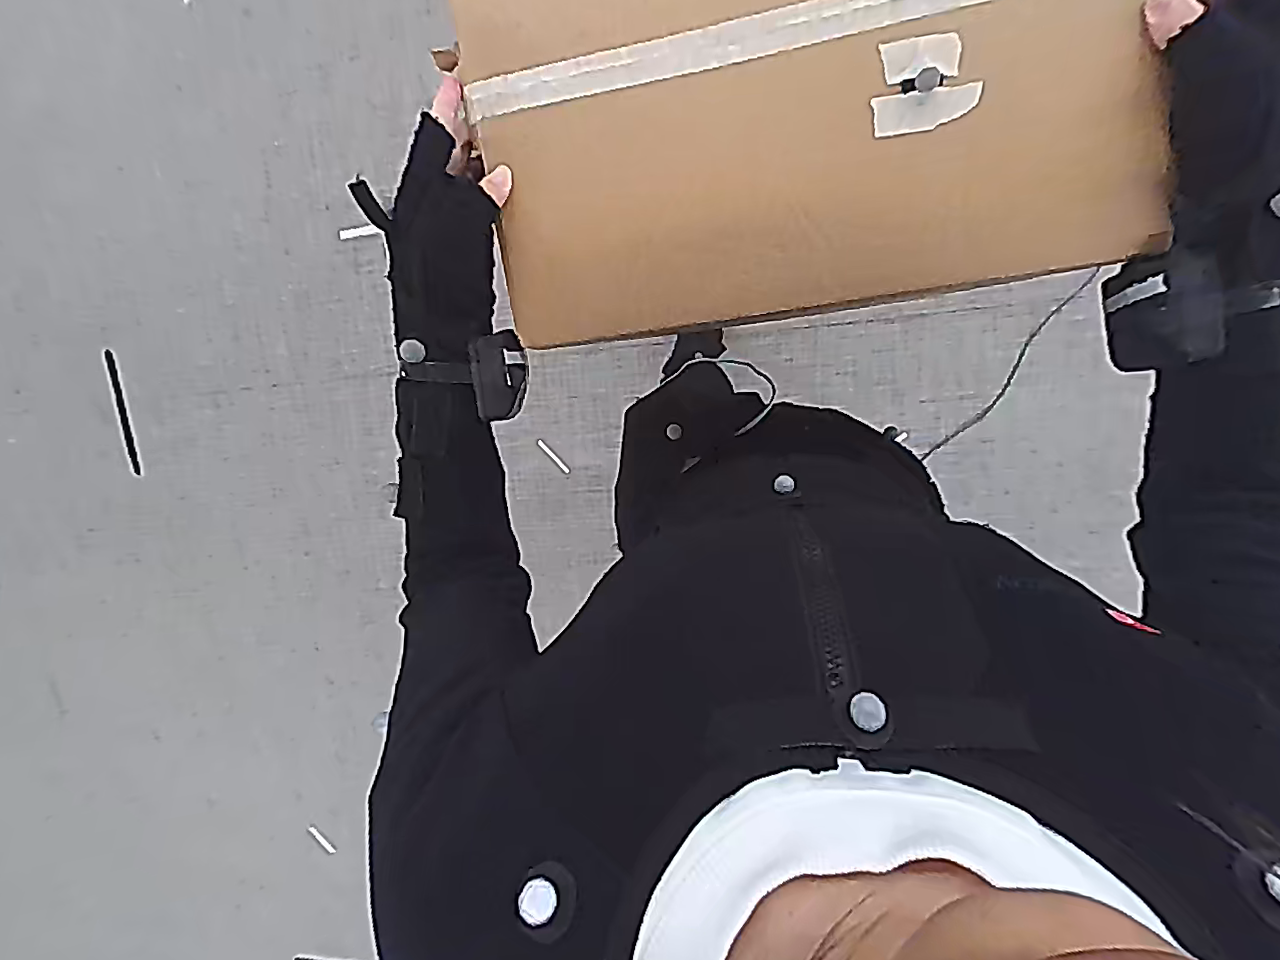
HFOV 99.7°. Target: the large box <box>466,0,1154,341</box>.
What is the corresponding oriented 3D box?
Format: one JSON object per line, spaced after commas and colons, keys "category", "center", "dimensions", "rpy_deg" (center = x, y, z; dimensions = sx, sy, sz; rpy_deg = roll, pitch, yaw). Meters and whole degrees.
{"category": "large box", "center": [0.107, -0.309, 0.473], "dimensions": [0.408, 0.320, 0.320], "rpy_deg": [-7, 104, 8]}
